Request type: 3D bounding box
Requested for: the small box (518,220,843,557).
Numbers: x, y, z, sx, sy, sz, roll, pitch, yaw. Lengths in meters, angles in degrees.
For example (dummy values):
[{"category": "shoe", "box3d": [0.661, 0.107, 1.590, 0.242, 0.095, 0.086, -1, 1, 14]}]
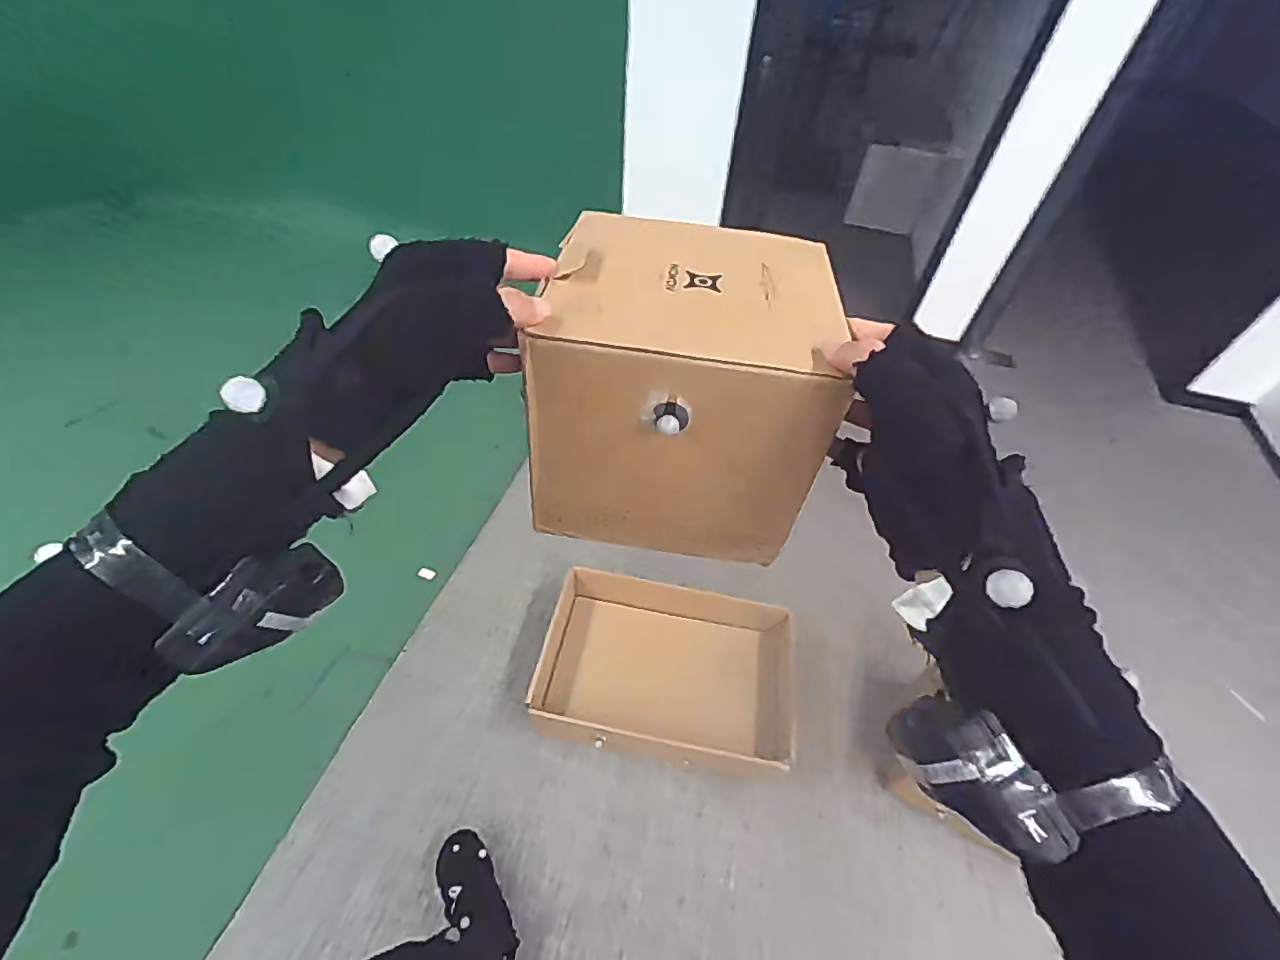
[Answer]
[{"category": "small box", "box3d": [0.022, -0.062, 0.393, 0.179, 0.176, 0.168, 9, 47, 0]}]
